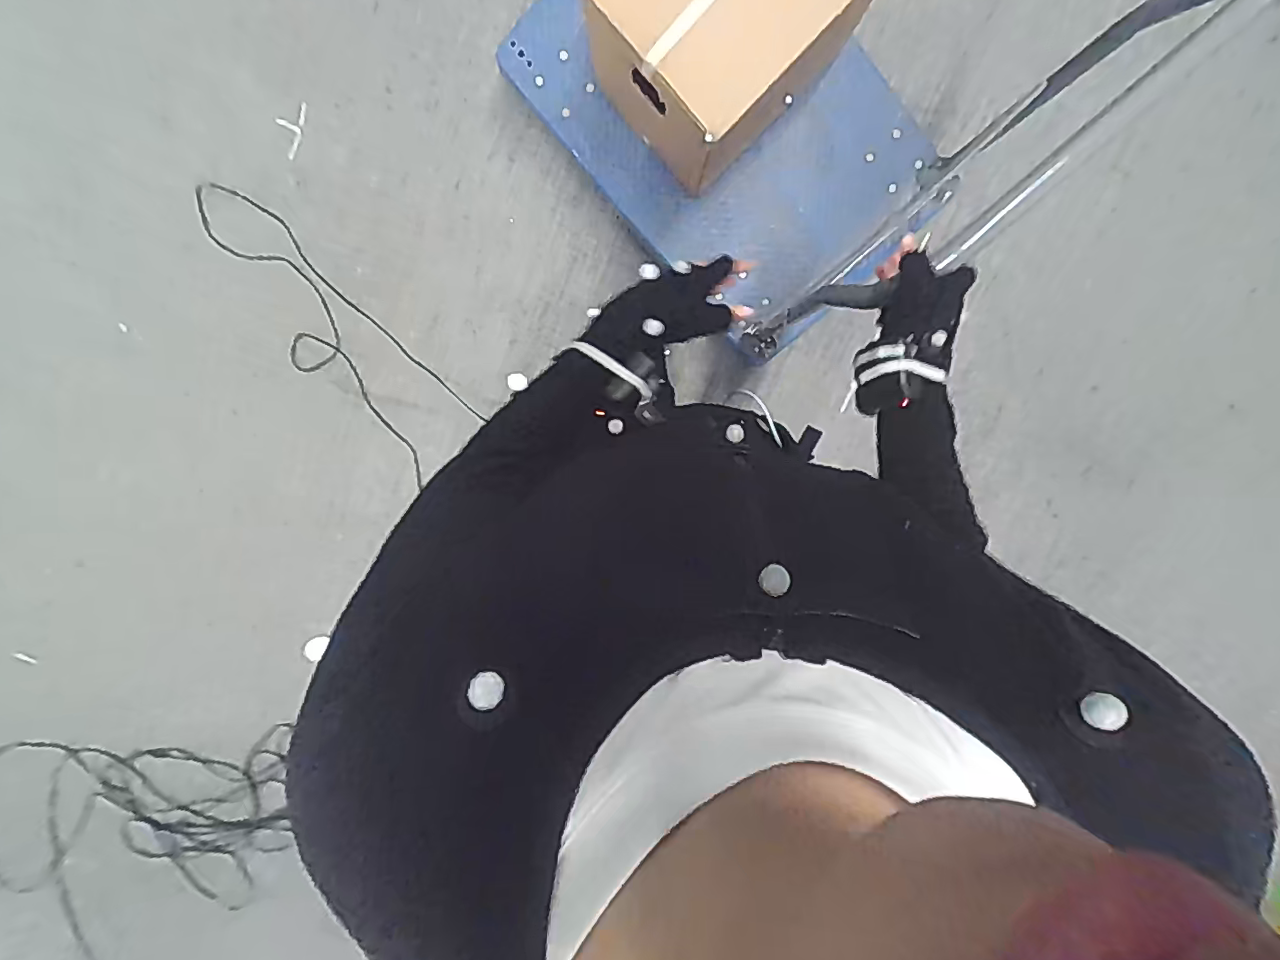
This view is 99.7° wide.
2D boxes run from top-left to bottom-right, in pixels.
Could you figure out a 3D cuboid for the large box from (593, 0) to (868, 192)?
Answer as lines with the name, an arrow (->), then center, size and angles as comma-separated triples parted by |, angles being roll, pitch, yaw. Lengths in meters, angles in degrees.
large box -> 0.172, -0.827, 0.973 | 0.320, 0.320, 0.408 | 44, 100, -6
